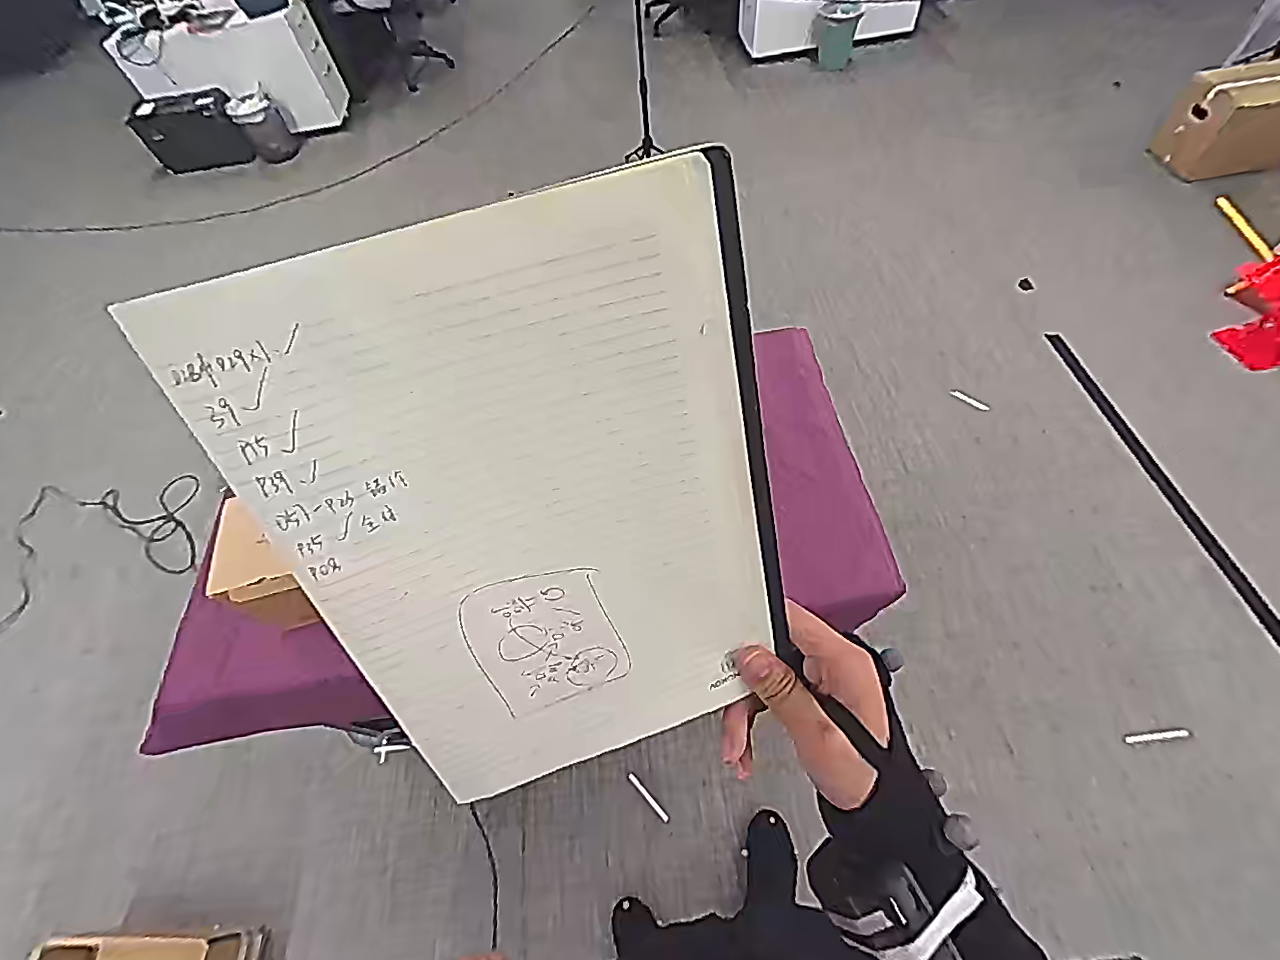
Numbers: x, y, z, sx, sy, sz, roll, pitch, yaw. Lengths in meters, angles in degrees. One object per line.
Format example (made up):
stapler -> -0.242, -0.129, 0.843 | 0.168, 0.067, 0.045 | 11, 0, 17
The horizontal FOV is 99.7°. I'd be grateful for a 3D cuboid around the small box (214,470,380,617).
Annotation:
small box -> -0.553, 0.115, 0.901 | 0.168, 0.176, 0.179 | -14, 58, -3
